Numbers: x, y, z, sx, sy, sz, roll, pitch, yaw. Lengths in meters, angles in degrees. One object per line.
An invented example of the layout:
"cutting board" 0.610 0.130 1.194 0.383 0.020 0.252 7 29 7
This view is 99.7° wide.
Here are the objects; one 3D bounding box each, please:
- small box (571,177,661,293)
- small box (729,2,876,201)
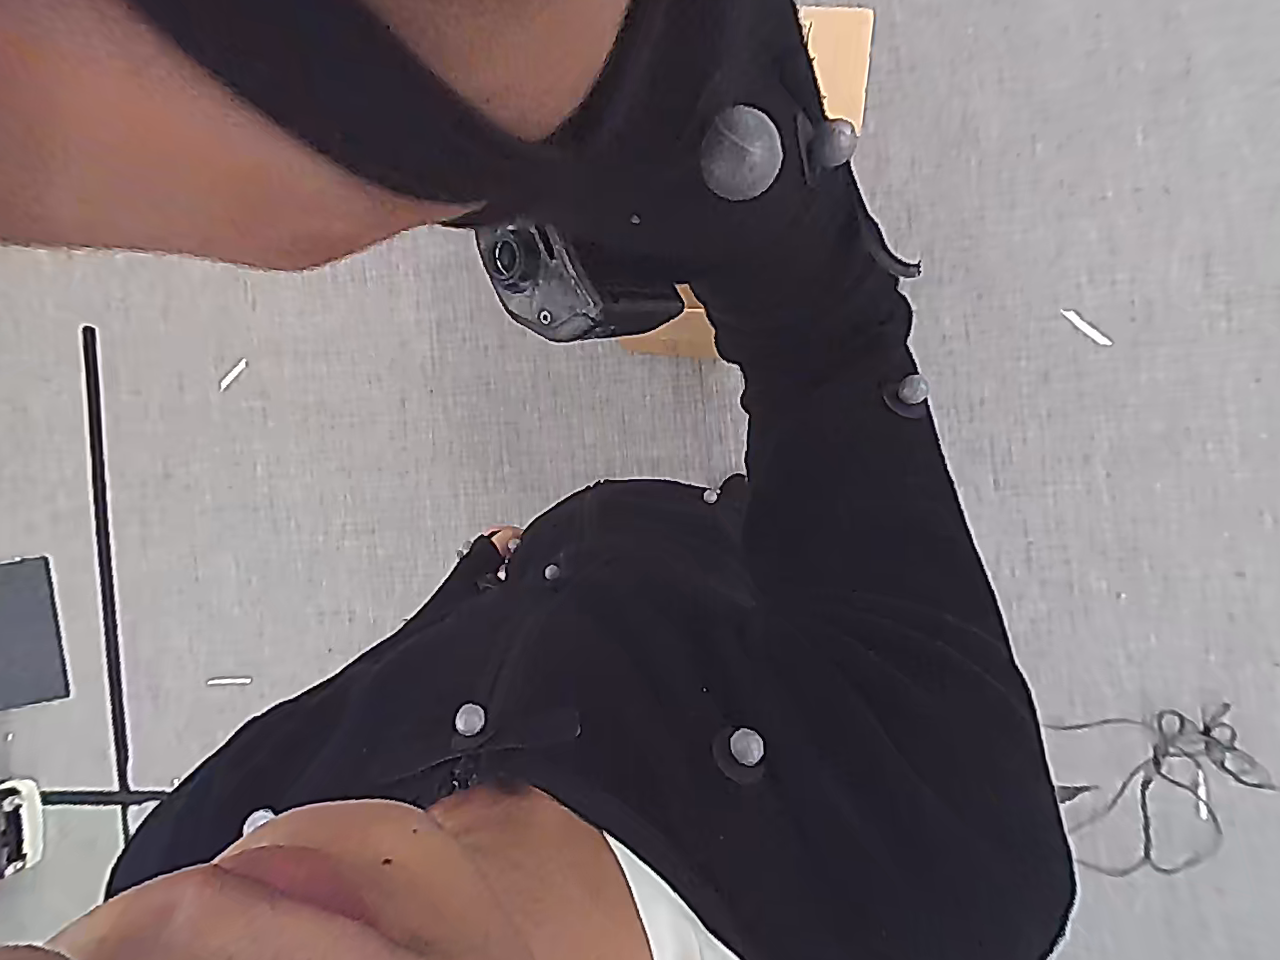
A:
"small box" -0.044 -0.507 1.139 0.168 0.176 0.179 3 89 5
"small box" 0.222 -0.531 0.781 0.168 0.176 0.179 6 90 5
